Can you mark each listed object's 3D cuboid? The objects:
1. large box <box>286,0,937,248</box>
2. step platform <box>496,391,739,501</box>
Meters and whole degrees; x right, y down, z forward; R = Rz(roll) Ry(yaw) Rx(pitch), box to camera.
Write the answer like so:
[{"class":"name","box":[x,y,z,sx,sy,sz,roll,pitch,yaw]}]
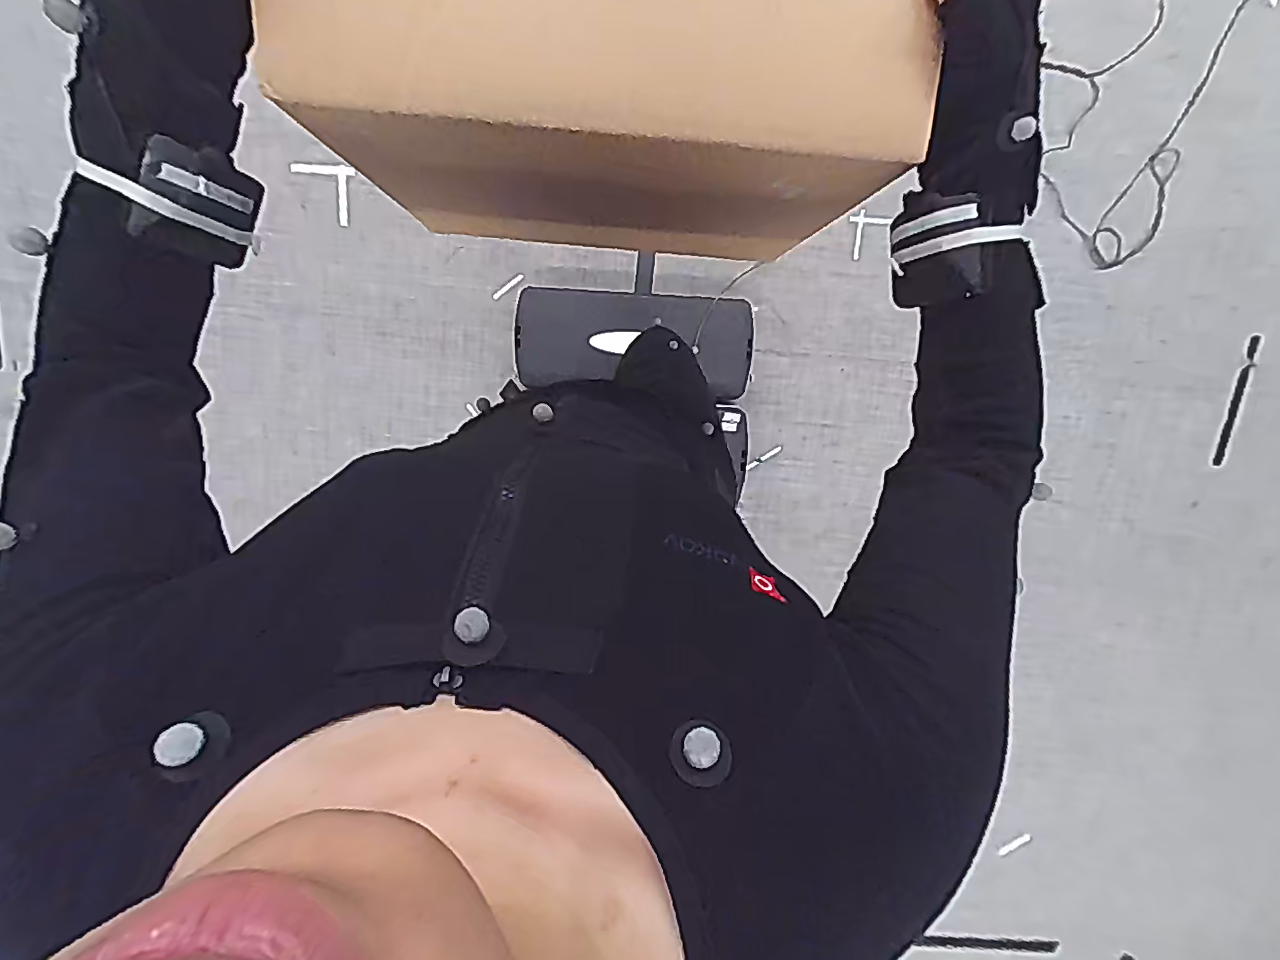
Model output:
[{"class":"large box","box":[-0.018,-0.402,0.459,0.408,0.320,0.320,2,102,-5]},{"class":"step platform","box":[-0.061,-0.099,1.553,0.684,0.204,0.286,2,100,0]}]
